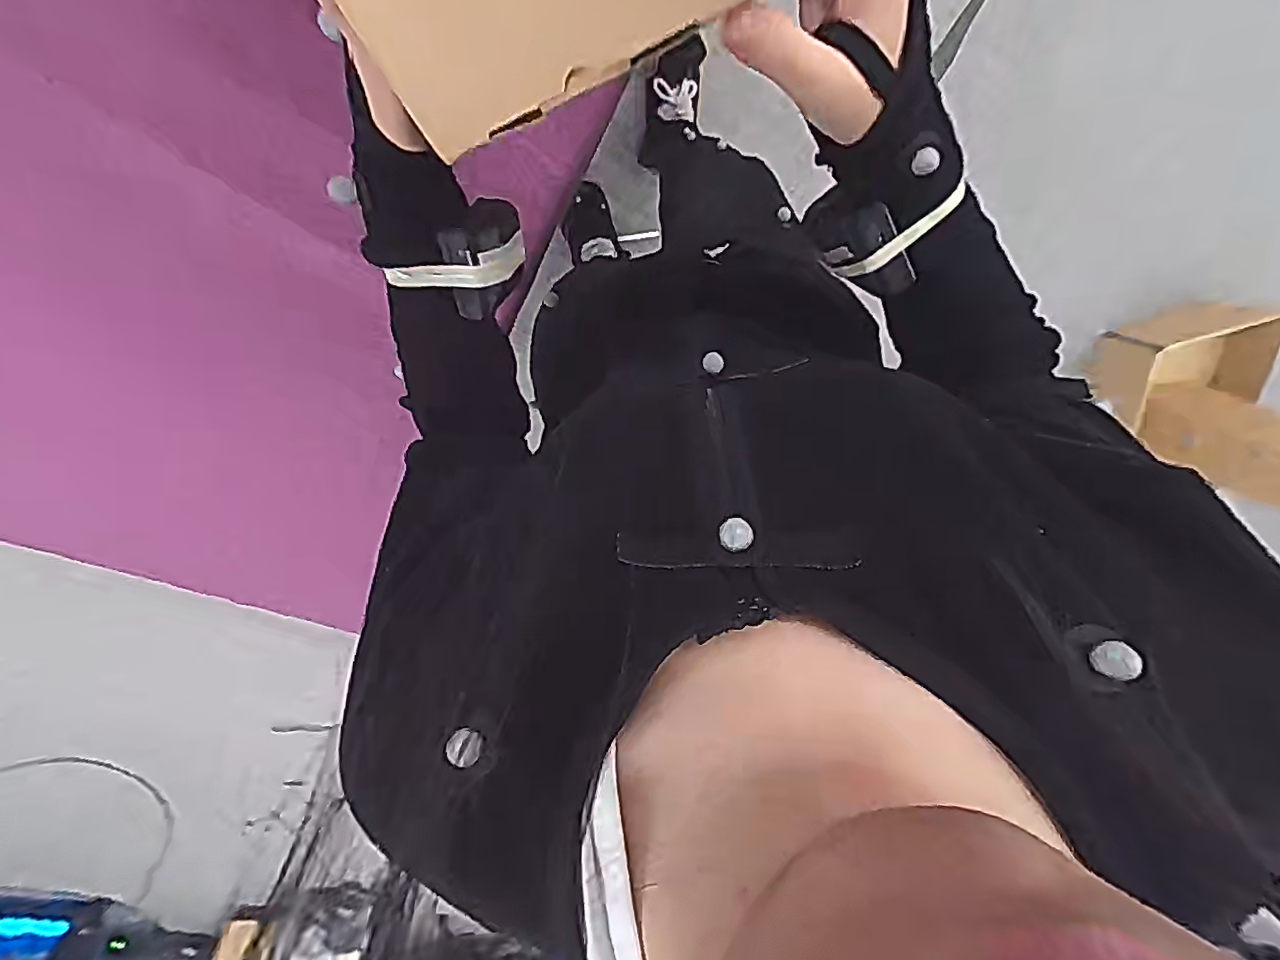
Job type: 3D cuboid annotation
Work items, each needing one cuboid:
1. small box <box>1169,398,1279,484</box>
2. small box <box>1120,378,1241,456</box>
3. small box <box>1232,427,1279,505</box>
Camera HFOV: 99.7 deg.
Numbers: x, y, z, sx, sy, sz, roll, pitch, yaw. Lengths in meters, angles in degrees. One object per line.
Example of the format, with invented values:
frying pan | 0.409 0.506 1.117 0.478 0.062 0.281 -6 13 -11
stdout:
small box | 1.685 -0.116 1.535 0.179 0.176 0.168 -14 121 -1
small box | 1.659 -0.199 1.671 0.179 0.176 0.168 -13 122 -2
small box | 1.714 -0.035 1.394 0.179 0.176 0.168 -16 122 -2
